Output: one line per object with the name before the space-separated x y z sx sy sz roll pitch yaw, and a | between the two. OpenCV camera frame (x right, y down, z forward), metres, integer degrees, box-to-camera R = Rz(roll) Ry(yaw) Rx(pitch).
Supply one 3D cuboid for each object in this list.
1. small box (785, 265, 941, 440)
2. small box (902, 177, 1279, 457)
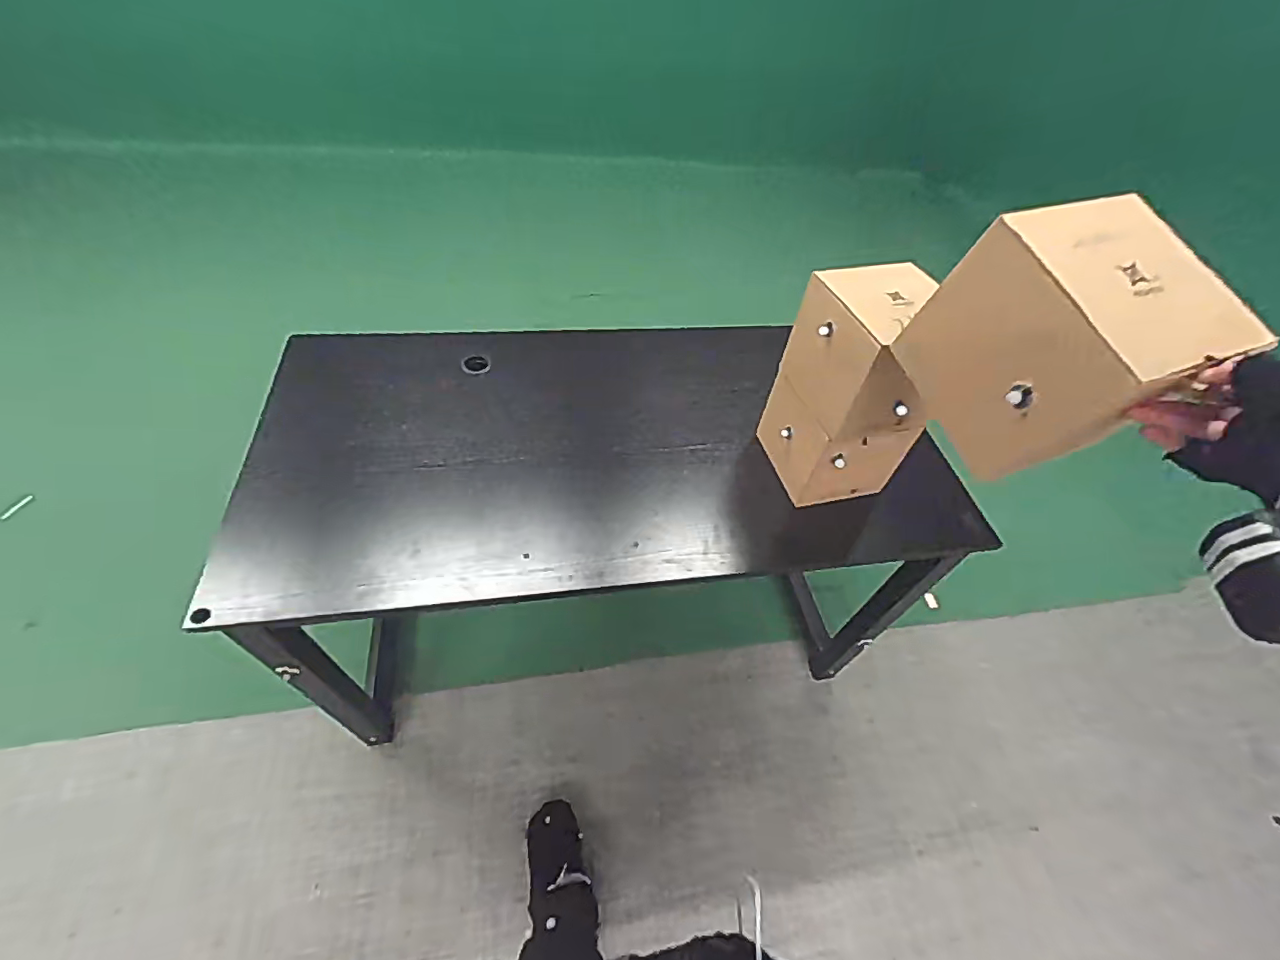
small box | 0.333 -0.183 0.778 0.168 0.176 0.179 -11 53 -14
small box | 0.387 -0.136 0.494 0.168 0.176 0.179 -15 67 -15
